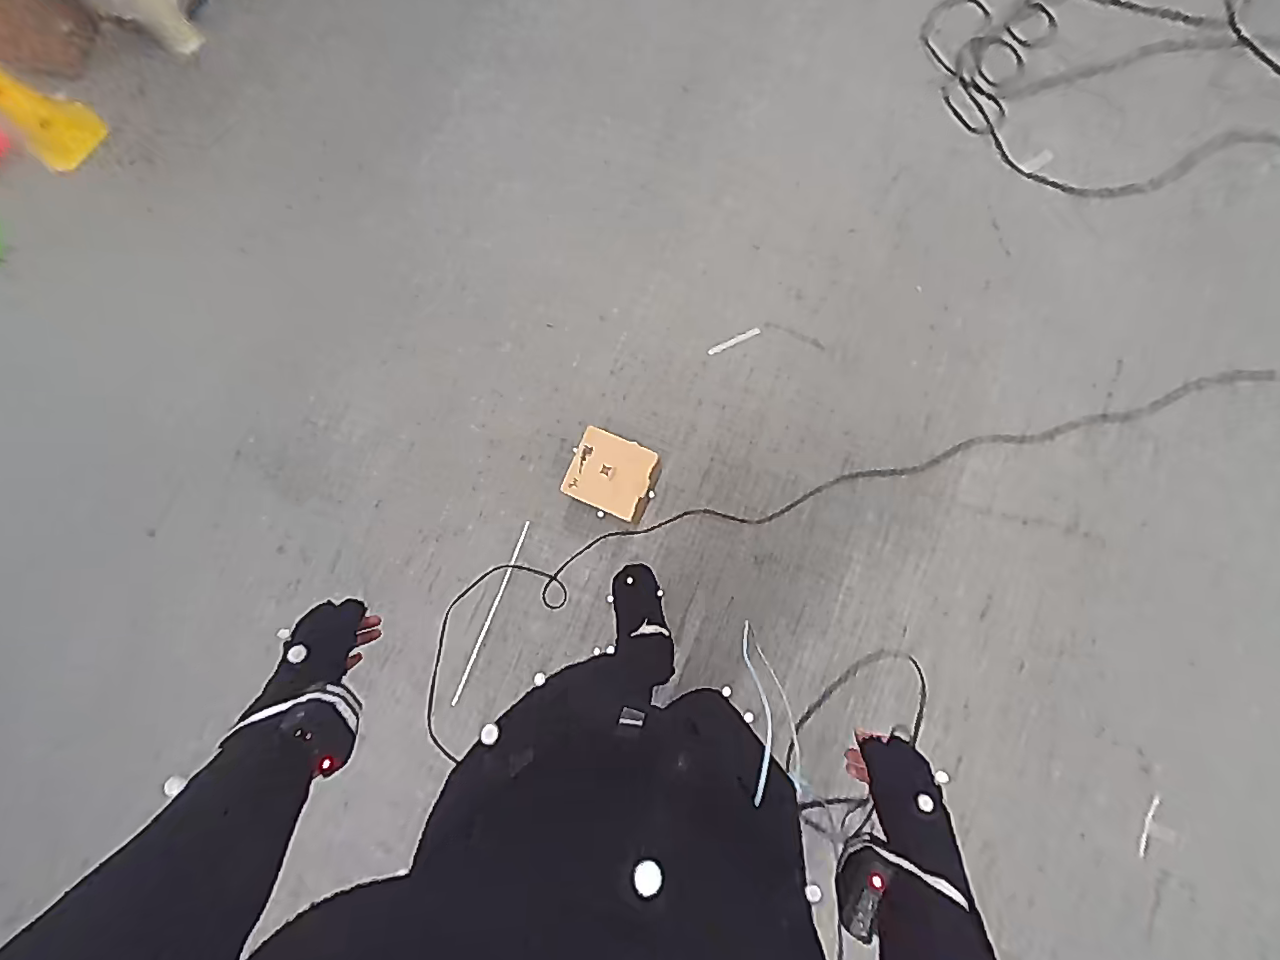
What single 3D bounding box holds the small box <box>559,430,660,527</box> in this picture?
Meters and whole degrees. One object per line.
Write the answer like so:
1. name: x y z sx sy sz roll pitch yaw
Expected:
1. small box: -0.062 0.001 1.269 0.179 0.176 0.168 24 86 7
